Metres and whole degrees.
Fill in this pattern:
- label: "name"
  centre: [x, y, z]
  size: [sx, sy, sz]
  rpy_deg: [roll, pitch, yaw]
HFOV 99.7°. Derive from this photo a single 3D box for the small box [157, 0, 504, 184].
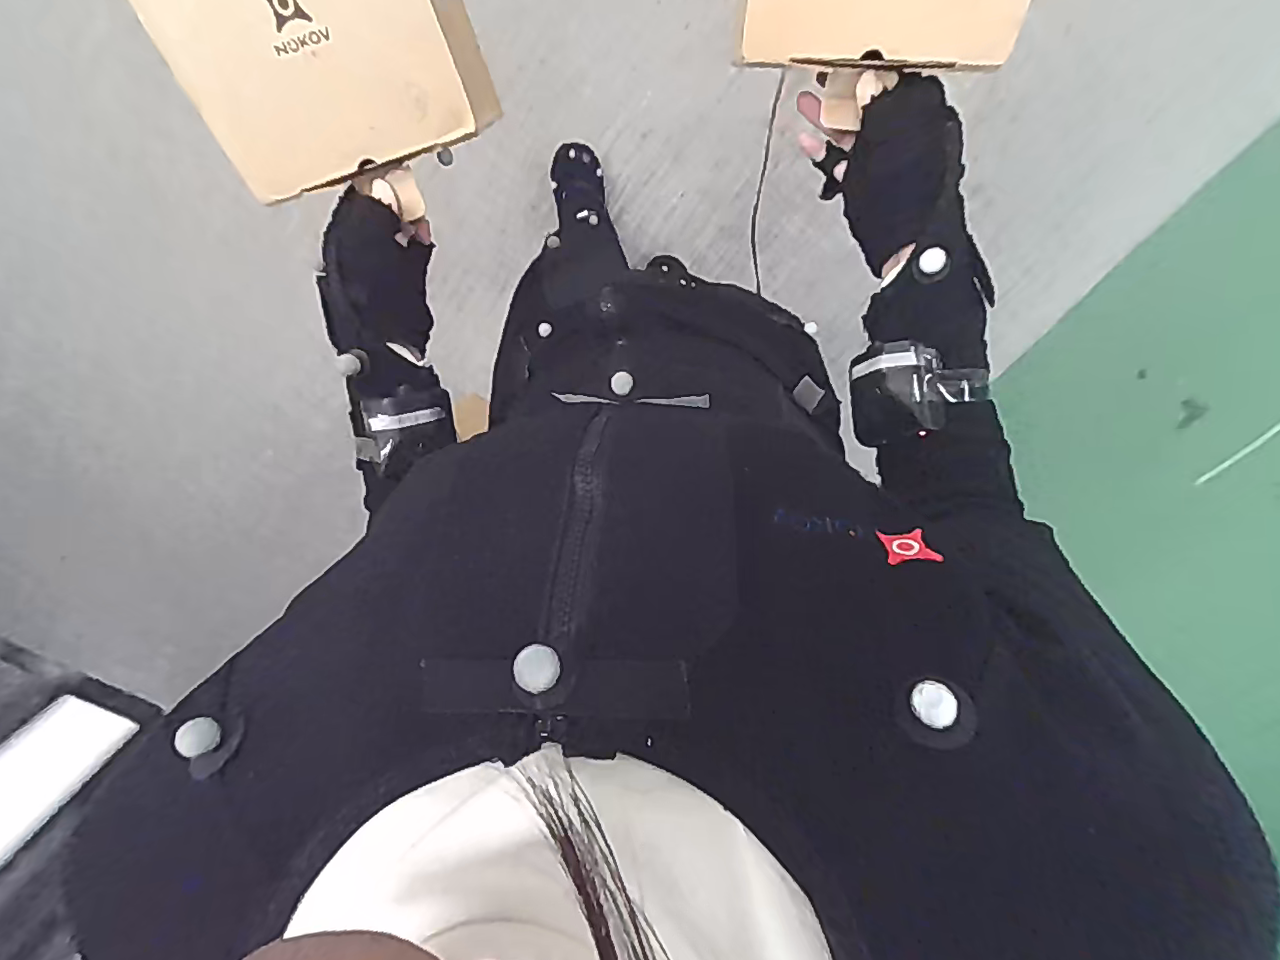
- label: "small box"
  centre: [-0.207, -0.338, 0.381]
  size: [0.168, 0.176, 0.179]
  rpy_deg: [-16, 127, 4]
